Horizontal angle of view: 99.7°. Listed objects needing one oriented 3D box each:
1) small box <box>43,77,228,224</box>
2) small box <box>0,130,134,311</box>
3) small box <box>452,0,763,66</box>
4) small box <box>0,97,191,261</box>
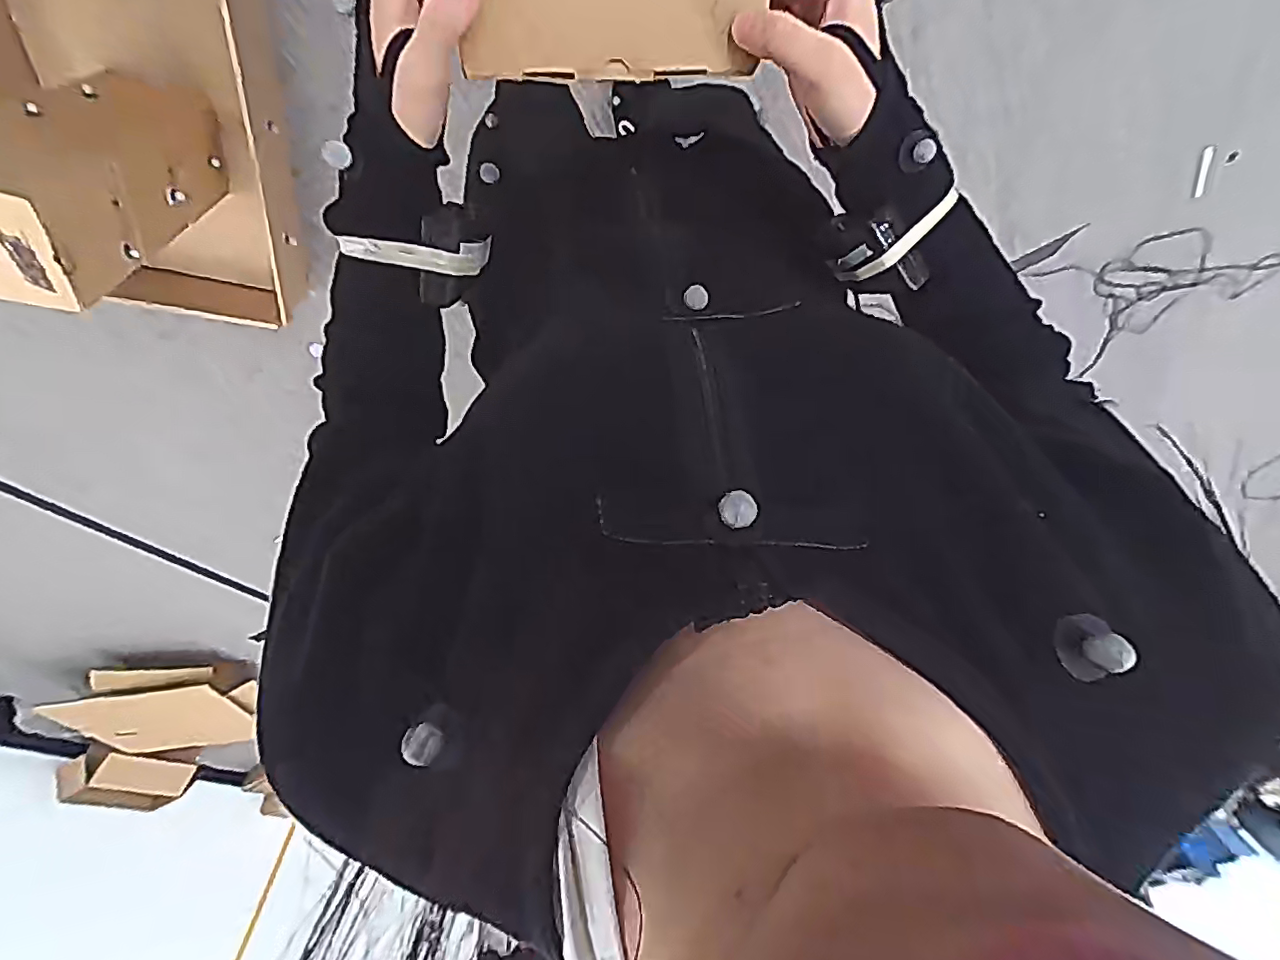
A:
[{"bbox_3d":[-0.899,-0.604,0.987,0.179,0.176,0.168,9,134,-18],"label":"small box"},{"bbox_3d":[-0.869,-0.369,0.762,0.179,0.176,0.168,8,135,-15],"label":"small box"},{"bbox_3d":[-0.023,-0.349,0.288,0.168,0.176,0.179,-6,138,-6],"label":"small box"},{"bbox_3d":[-0.882,-0.489,0.875,0.179,0.176,0.168,8,135,-18],"label":"small box"}]
